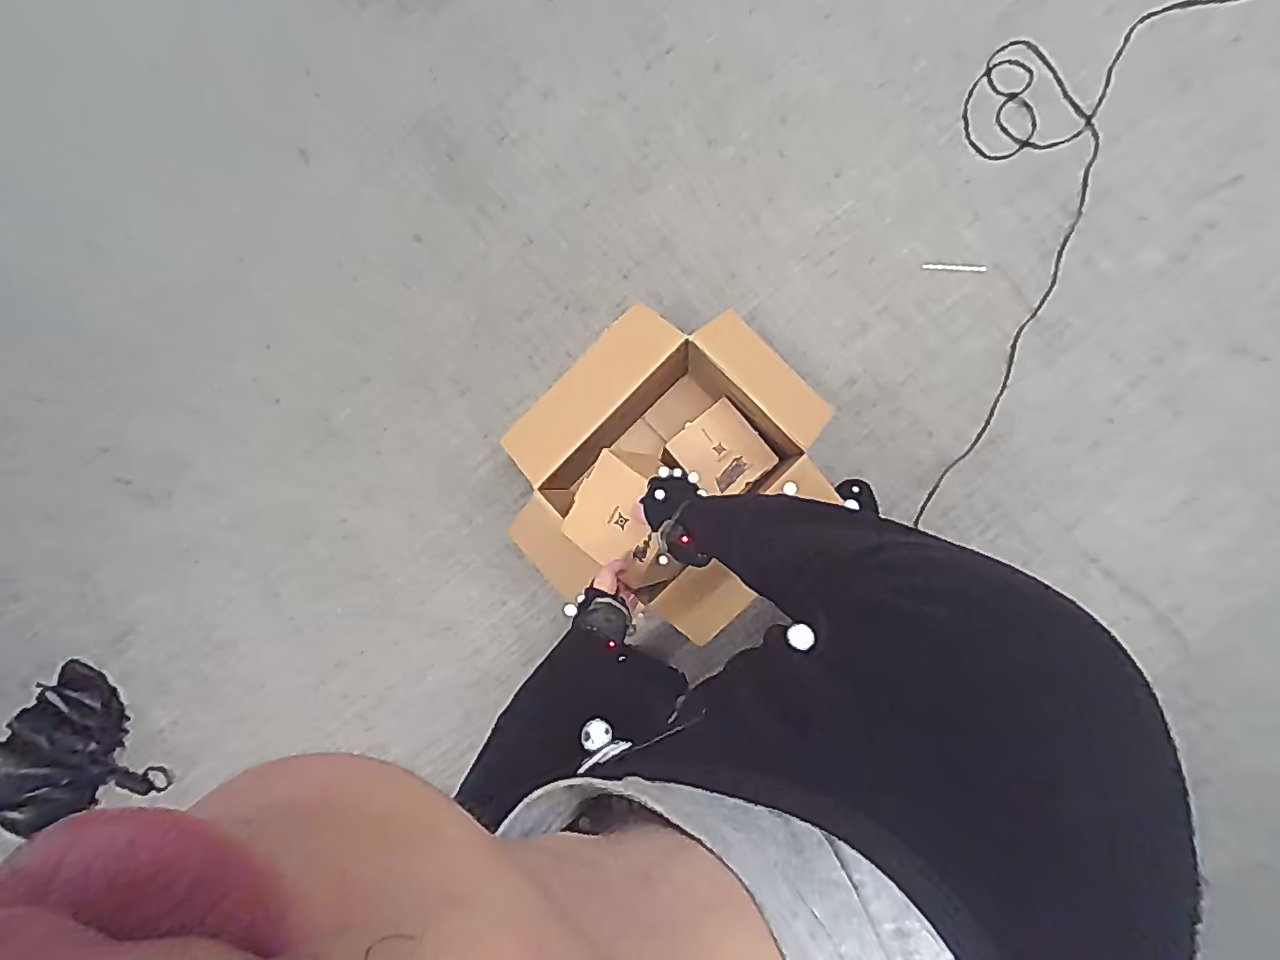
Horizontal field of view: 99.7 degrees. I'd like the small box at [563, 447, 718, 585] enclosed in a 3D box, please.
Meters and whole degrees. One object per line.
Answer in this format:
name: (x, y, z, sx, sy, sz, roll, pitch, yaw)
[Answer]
small box: (0.006, 0.061, 0.949, 0.179, 0.176, 0.168, 36, 105, 24)
